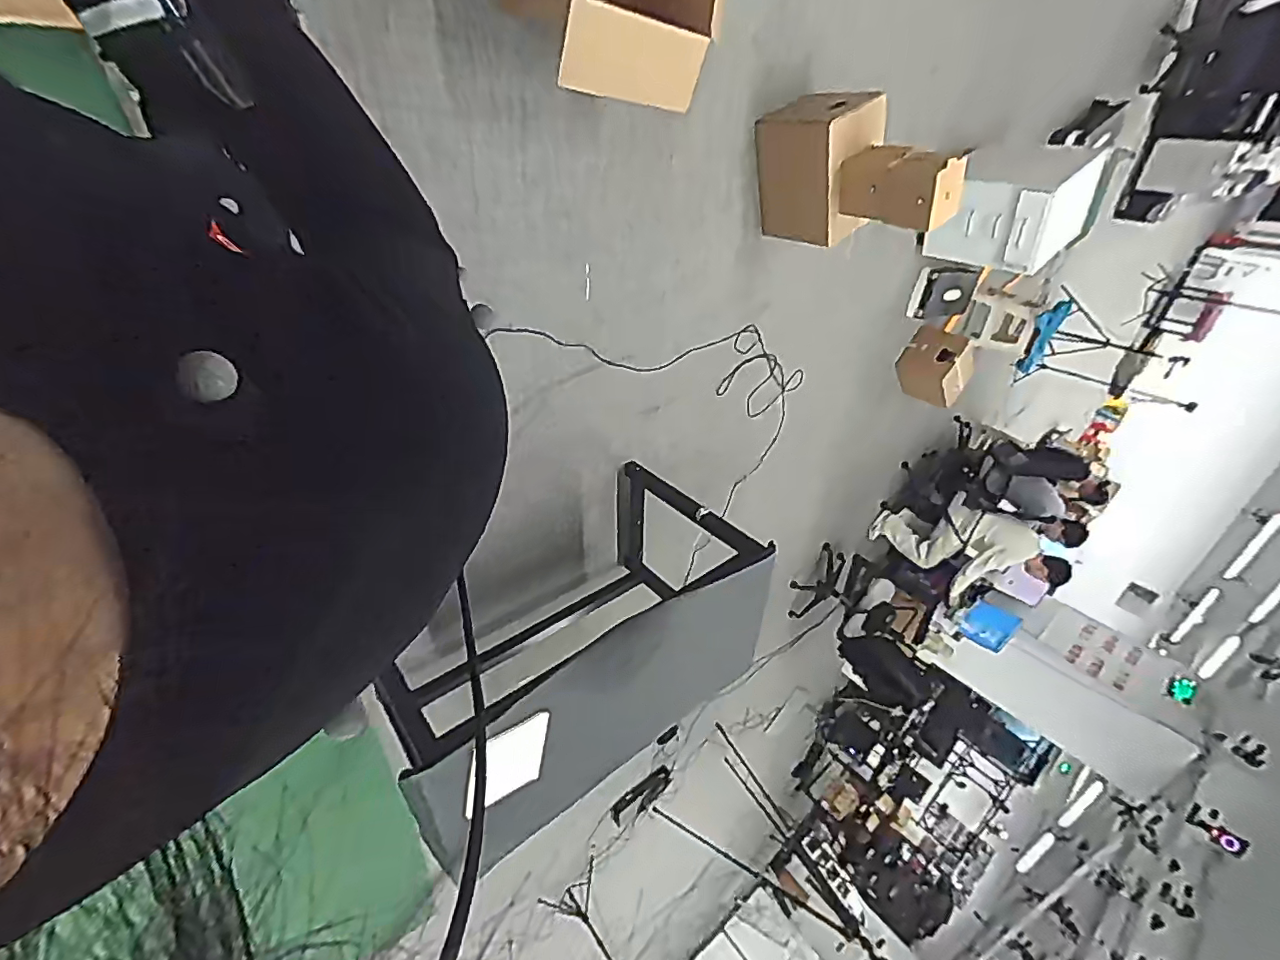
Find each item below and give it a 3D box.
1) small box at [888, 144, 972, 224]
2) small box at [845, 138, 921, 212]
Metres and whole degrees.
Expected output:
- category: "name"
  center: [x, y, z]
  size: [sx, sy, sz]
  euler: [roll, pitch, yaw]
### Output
- category: "small box"
  center: [0.914, -0.948, 1.723]
  size: [0.168, 0.176, 0.179]
  euler: [-36, 136, -19]
- category: "small box"
  center: [0.811, -1.029, 1.819]
  size: [0.168, 0.176, 0.179]
  euler: [-37, 137, -19]
